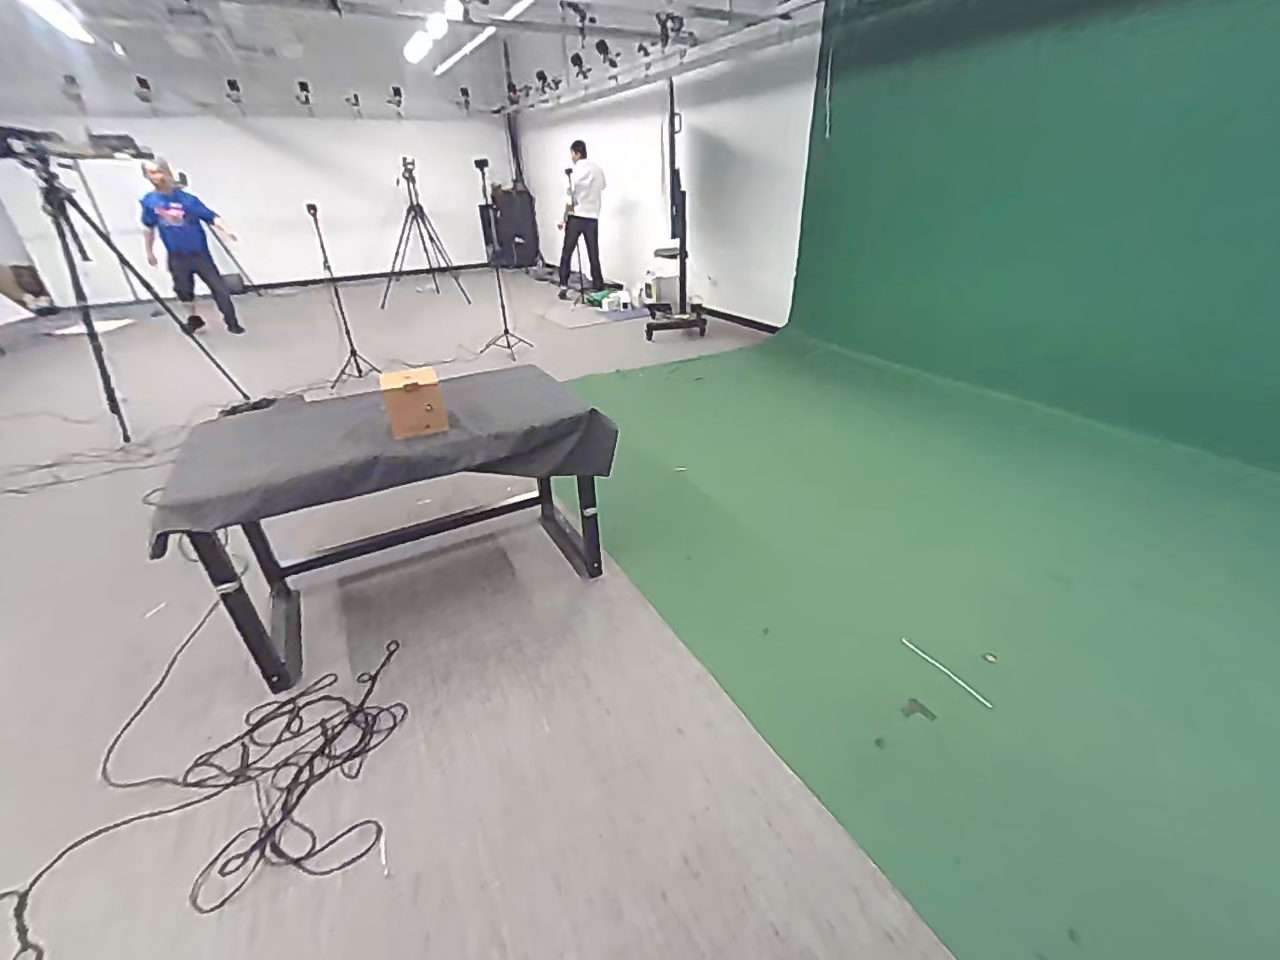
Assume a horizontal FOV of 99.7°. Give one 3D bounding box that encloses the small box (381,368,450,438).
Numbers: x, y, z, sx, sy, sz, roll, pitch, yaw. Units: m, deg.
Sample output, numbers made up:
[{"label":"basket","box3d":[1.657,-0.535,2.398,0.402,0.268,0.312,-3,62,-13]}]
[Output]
[{"label":"small box","box3d":[-0.713,-0.242,1.719,0.168,0.176,0.179,-13,30,-22]}]
